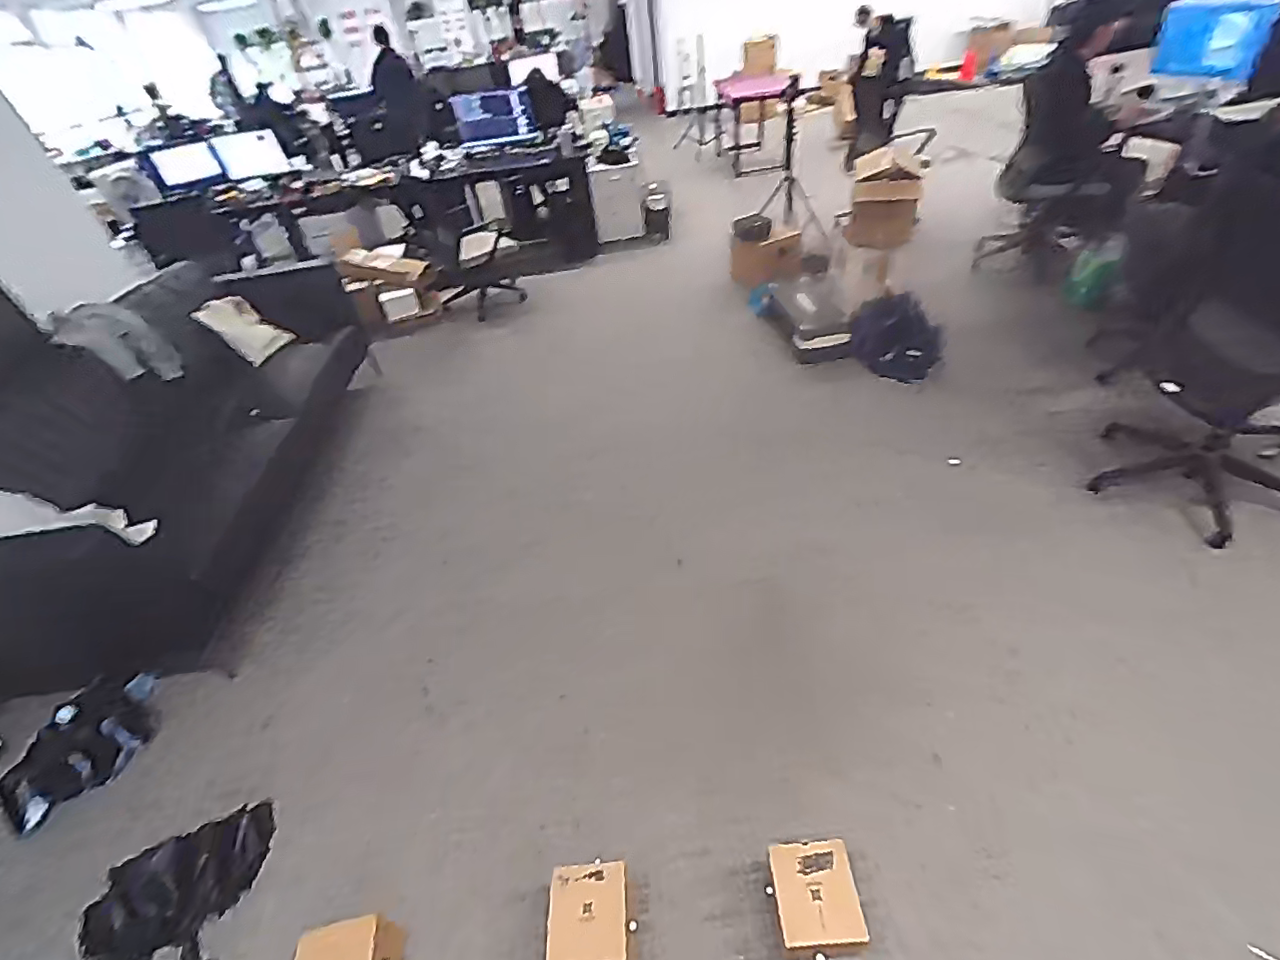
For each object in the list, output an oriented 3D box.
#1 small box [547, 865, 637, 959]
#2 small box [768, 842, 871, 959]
[{"bbox_3d":[-0.098,0.975,1.184,0.168,0.176,0.179,-7,41,3],"label":"small box"},{"bbox_3d":[0.374,0.911,1.165,0.168,0.176,0.179,-7,42,4],"label":"small box"}]
